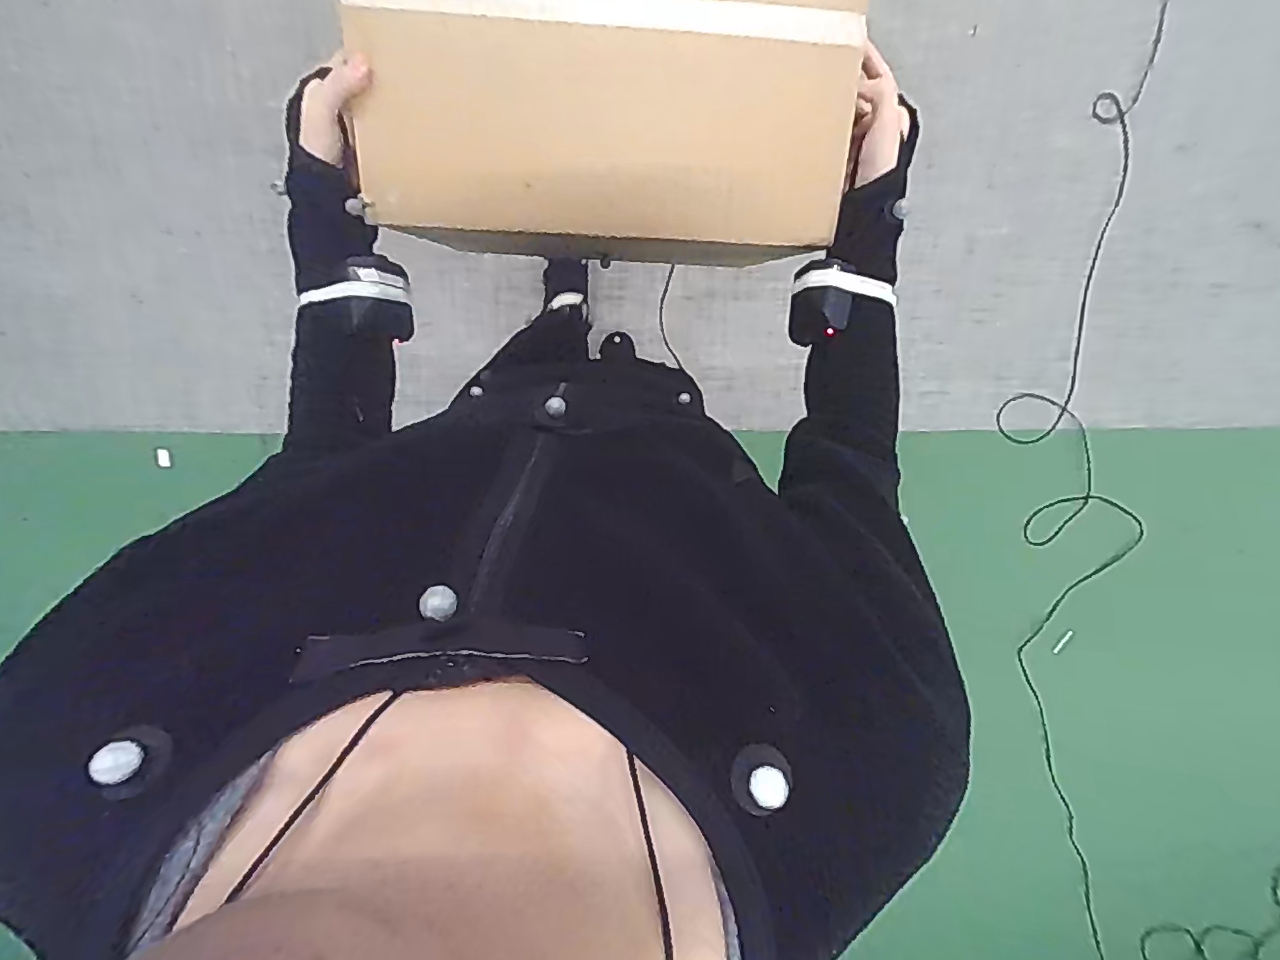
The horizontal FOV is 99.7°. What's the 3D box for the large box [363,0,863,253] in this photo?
[{"bbox_3d":[-0.025,-0.417,0.572,0.408,0.320,0.320,1,108,-4],"label":"large box"}]
